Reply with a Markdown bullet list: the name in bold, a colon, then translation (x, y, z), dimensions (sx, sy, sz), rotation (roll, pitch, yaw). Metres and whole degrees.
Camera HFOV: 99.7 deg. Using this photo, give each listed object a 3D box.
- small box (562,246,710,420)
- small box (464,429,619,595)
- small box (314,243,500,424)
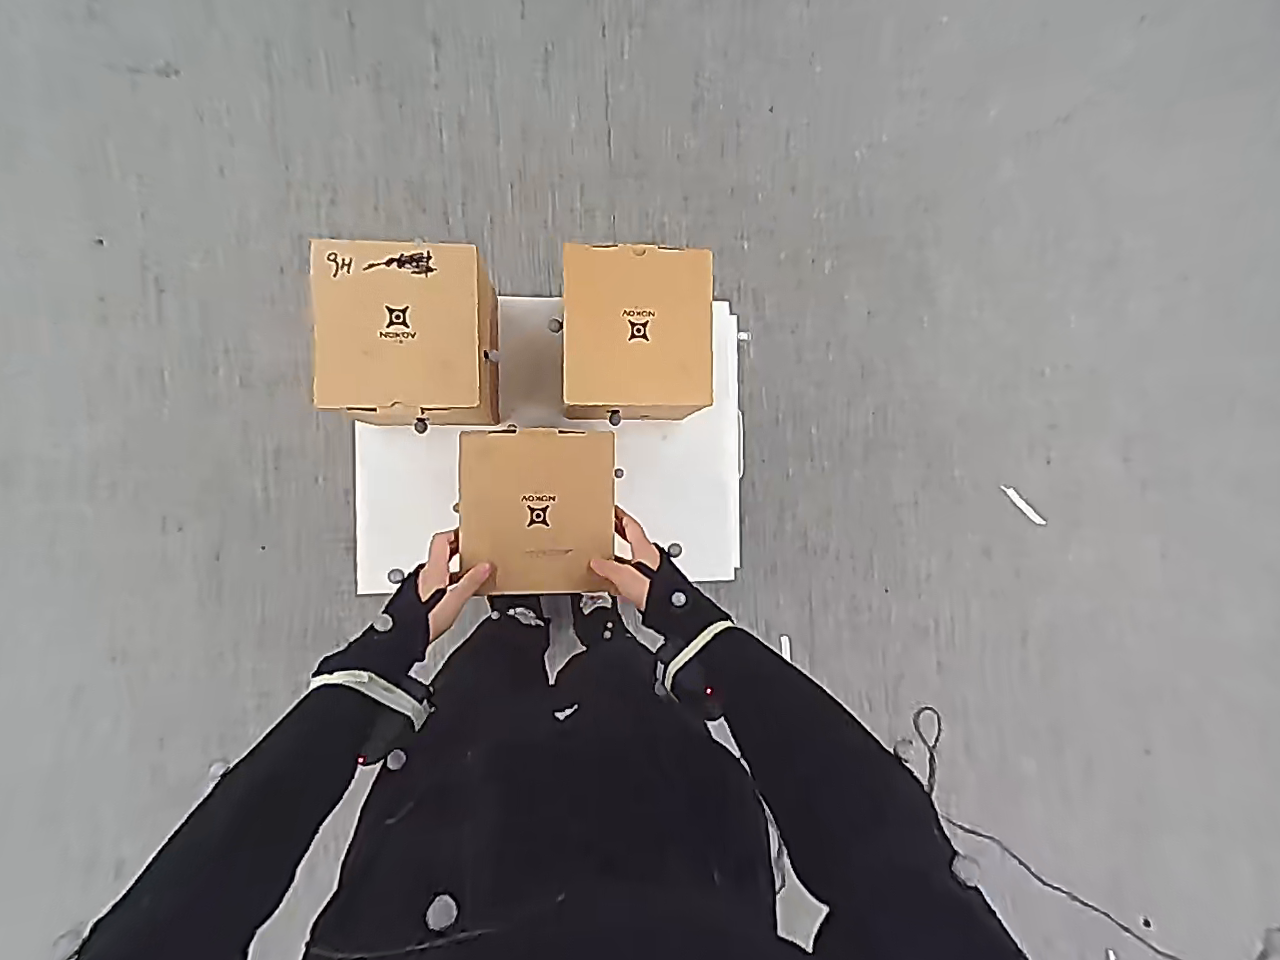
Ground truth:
- **small box**: translation (-0.011, -0.168, 0.672), dimensions (0.168, 0.176, 0.179), rotation (-1, 90, -7)
- **small box**: translation (-0.114, 0.035, 0.659), dimensions (0.168, 0.176, 0.179), rotation (-2, 90, -6)
- **small box**: translation (-0.260, -0.158, 0.640), dimensions (0.168, 0.176, 0.179), rotation (-1, 92, -8)
